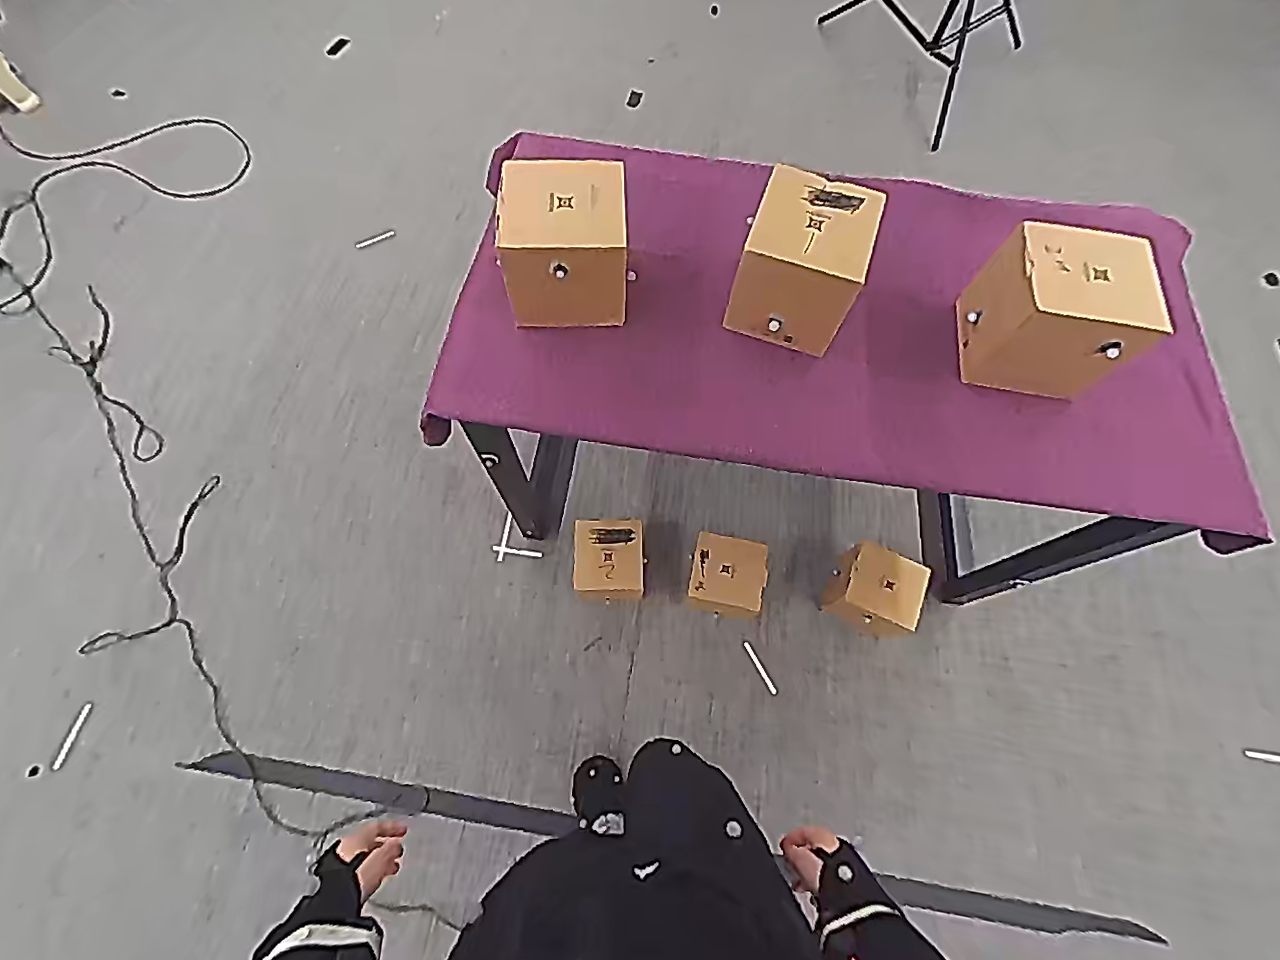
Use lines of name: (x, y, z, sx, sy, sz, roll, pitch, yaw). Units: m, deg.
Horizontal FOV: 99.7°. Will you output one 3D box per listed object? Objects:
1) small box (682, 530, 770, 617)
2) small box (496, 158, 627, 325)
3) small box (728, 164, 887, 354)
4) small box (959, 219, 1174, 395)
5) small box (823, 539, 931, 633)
small box: (0.212, 0.242, 1.367, 0.179, 0.176, 0.168, 12, 68, 3)
small box: (-0.109, -0.351, 0.815, 0.179, 0.176, 0.168, -2, 69, -4)
small box: (0.242, -0.325, 0.814, 0.168, 0.176, 0.179, 19, 69, 7)
small box: (0.602, -0.243, 0.789, 0.179, 0.176, 0.168, 10, 67, 3)
small box: (0.591, 0.274, 1.365, 0.179, 0.176, 0.168, 24, 69, 9)
